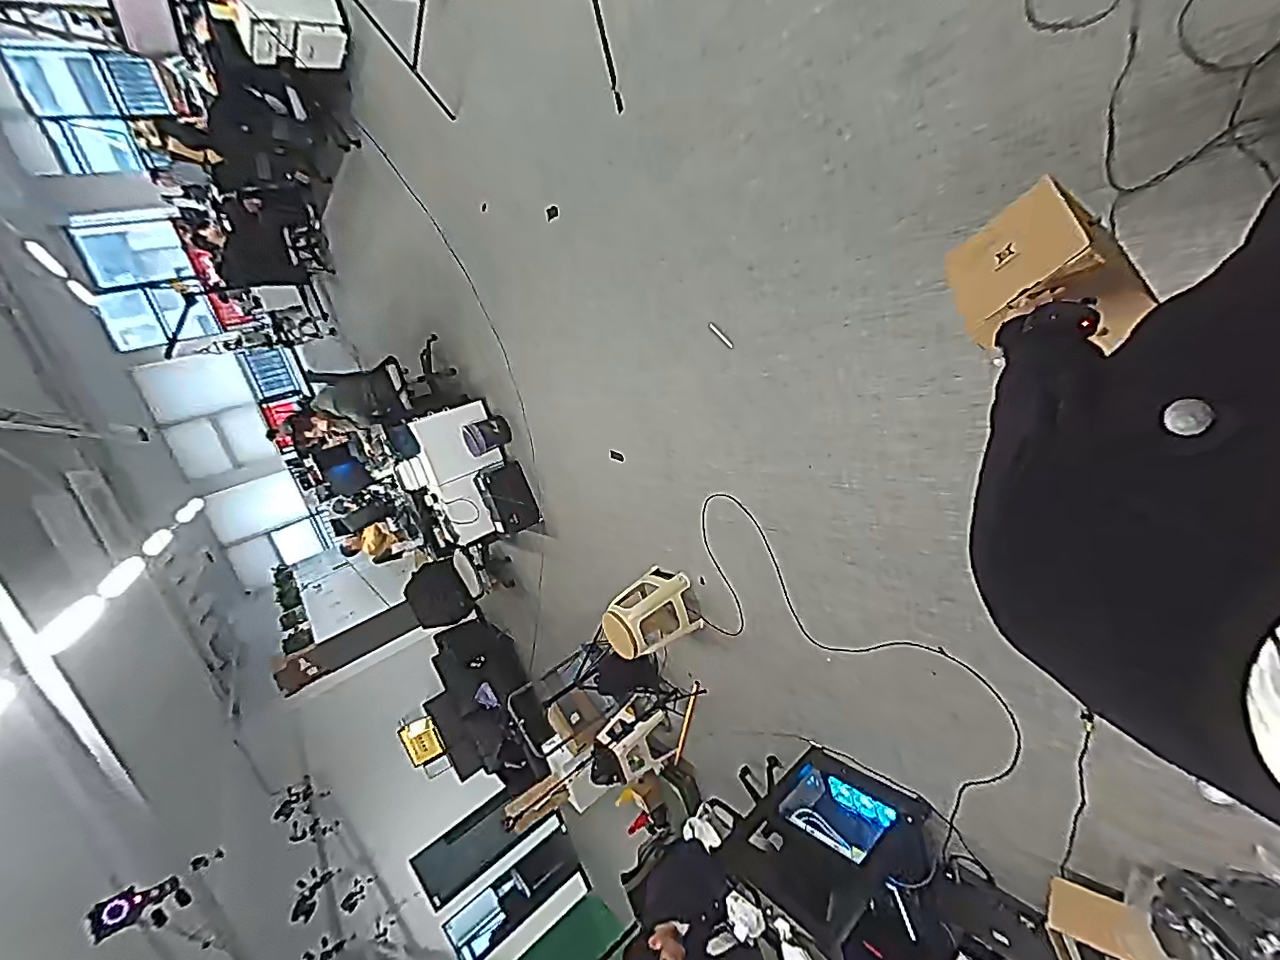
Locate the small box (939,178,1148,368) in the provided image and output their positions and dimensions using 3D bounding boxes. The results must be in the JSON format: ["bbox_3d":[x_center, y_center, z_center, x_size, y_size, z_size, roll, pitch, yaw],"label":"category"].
[{"bbox_3d":[0.581,-0.288,0.791,0.168,0.176,0.179,-41,34,48],"label":"small box"}]
